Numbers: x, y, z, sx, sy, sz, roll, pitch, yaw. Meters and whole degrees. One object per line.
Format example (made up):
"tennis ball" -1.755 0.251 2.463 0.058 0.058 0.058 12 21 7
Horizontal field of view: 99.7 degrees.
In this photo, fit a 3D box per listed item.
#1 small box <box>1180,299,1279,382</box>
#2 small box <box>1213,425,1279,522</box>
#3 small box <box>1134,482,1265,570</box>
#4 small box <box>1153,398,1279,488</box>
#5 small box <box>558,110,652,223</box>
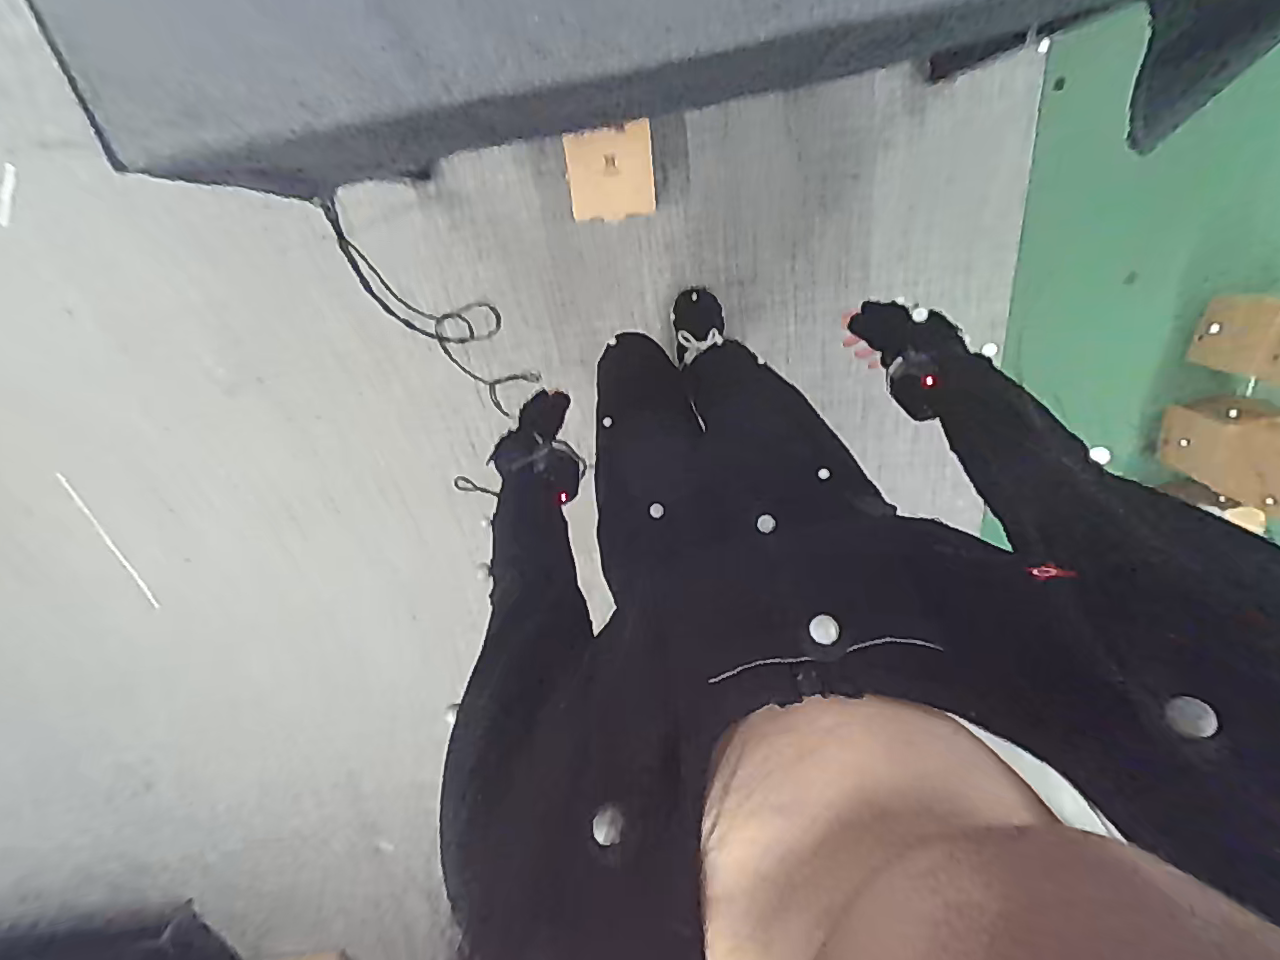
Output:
"small box" 1.462 -0.331 1.273 0.179 0.176 0.168 2 115 -1
"small box" 1.494 -0.023 1.241 0.168 0.176 0.179 -8 116 2
"small box" 1.535 0.119 1.492 0.179 0.176 0.168 -13 115 5
"small box" 1.484 -0.099 1.385 0.179 0.176 0.168 -11 116 3
"small box" -0.062 -0.624 1.091 0.168 0.176 0.179 -5 116 2
